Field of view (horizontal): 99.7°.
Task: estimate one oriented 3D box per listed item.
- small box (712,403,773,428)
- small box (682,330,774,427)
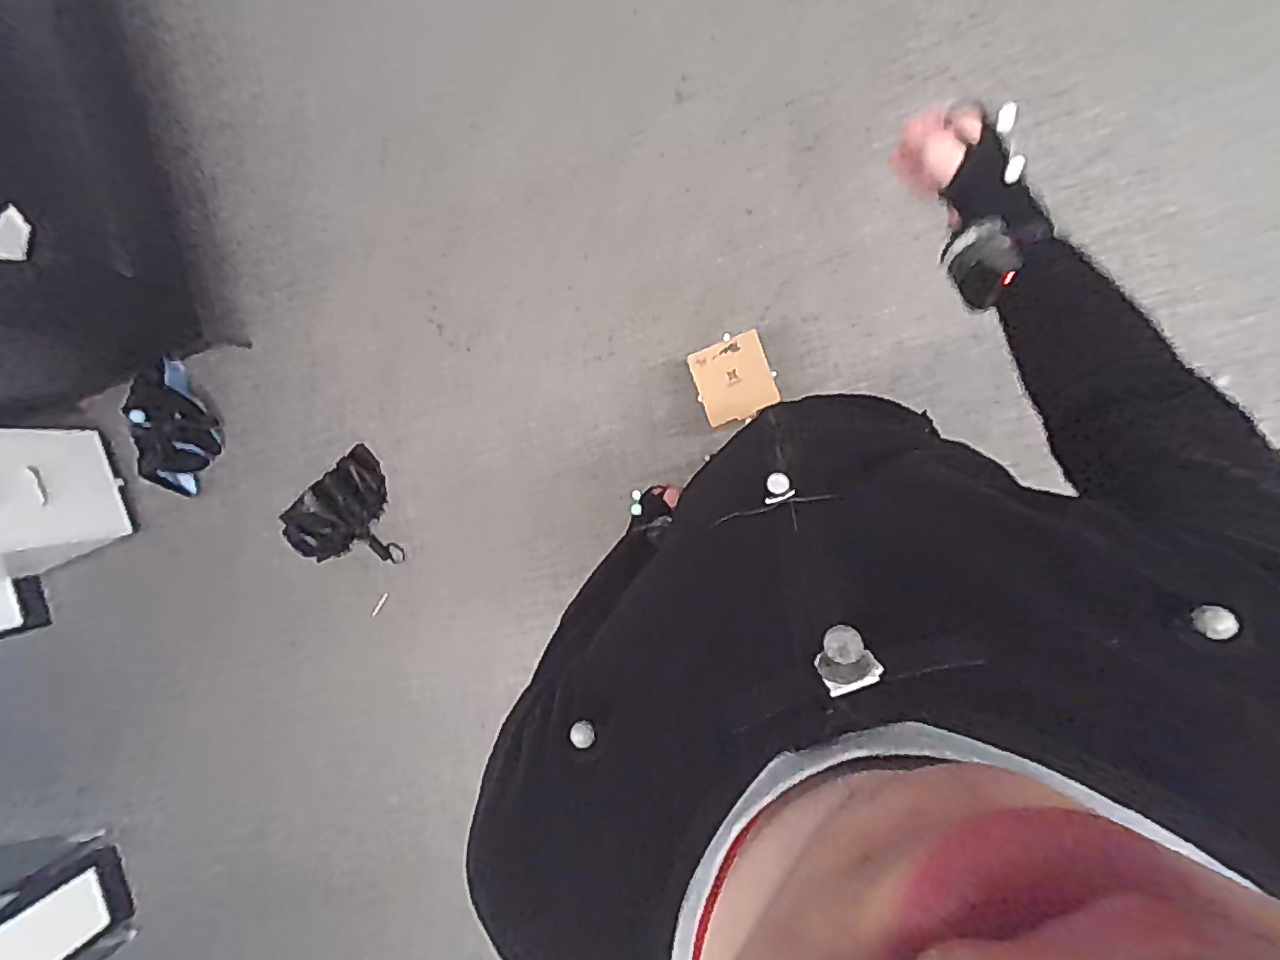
[{"bbox_3d":[0.246,-0.248,1.455,0.168,0.176,0.179,-21,91,13],"label":"small box"},{"bbox_3d":[0.216,-0.237,1.295,0.168,0.176,0.179,-20,91,13],"label":"small box"}]
